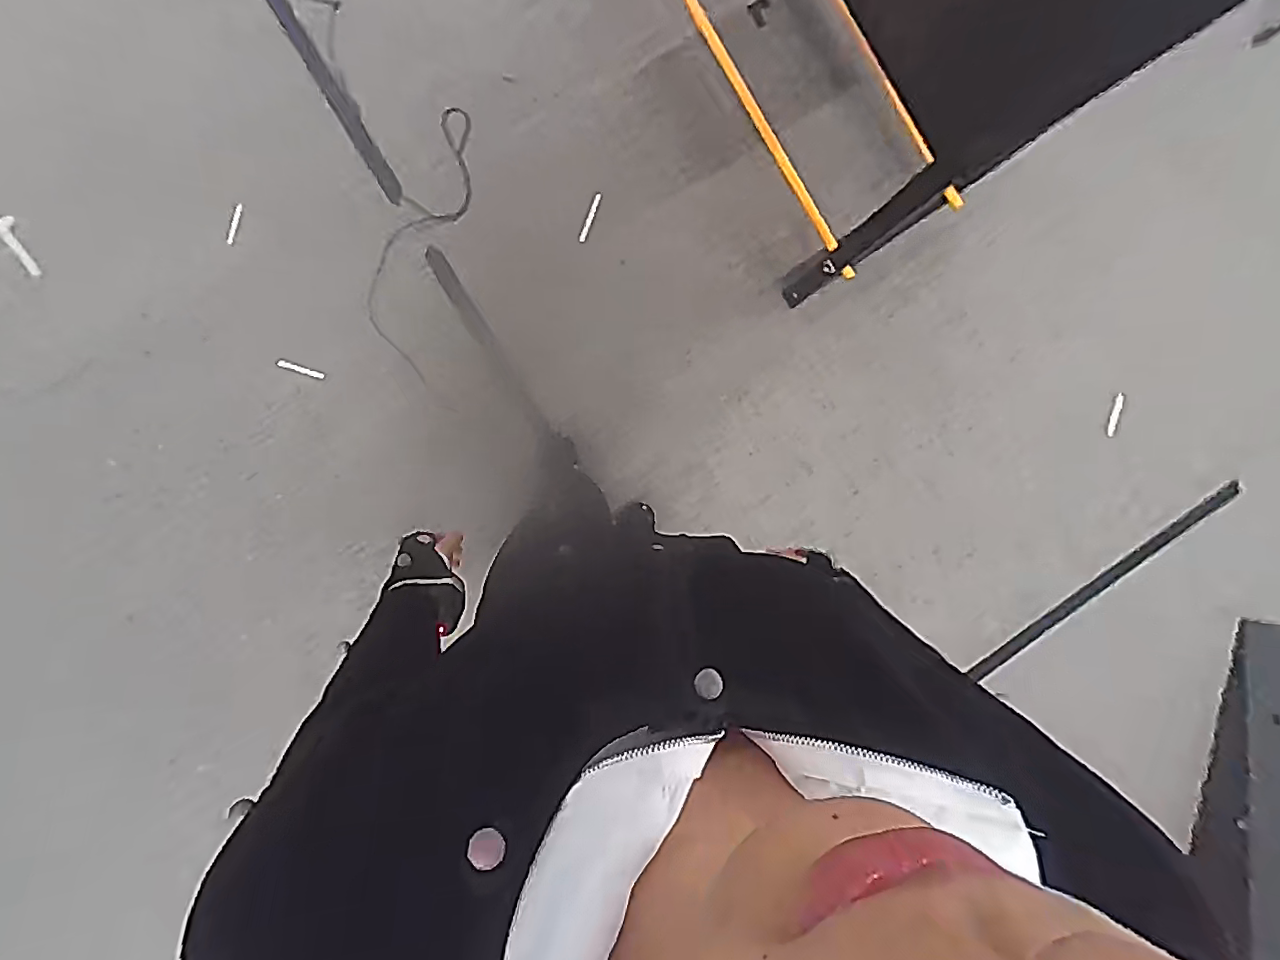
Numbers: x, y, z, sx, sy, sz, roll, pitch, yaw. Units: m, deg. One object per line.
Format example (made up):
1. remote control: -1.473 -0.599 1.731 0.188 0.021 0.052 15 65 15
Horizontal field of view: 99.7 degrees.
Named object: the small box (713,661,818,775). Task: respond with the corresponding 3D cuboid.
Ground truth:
1. small box: 0.314 0.599 1.388 0.168 0.176 0.179 -39 94 -4
